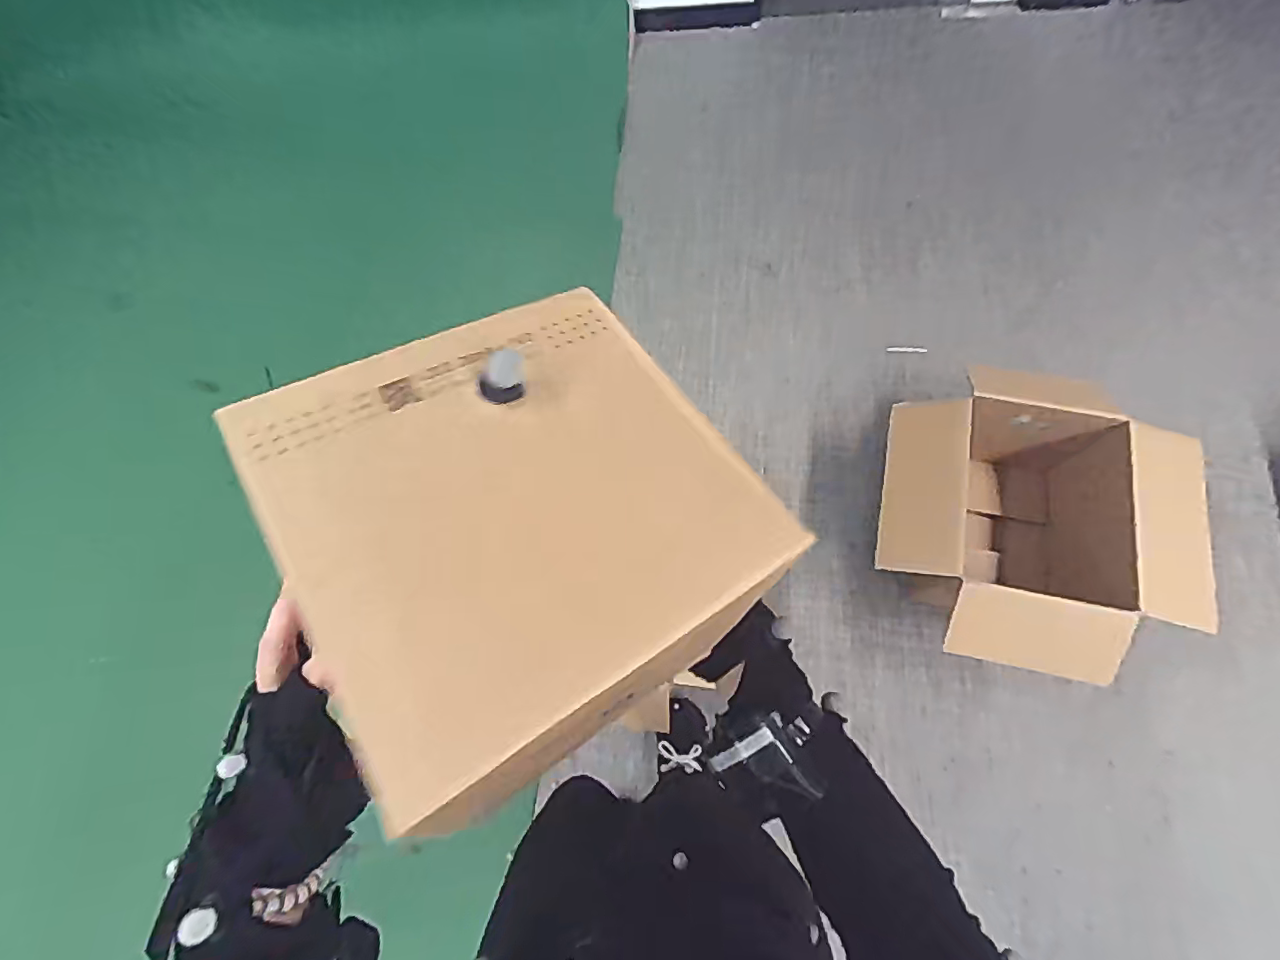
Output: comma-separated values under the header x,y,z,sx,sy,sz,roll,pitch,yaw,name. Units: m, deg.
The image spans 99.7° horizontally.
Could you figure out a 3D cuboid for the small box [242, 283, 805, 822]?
x,y,z,sx,sy,sz,roll,pitch,yaw,name
-0.056,0.037,0.279,0.168,0.179,0.176,-29,68,-20,small box
